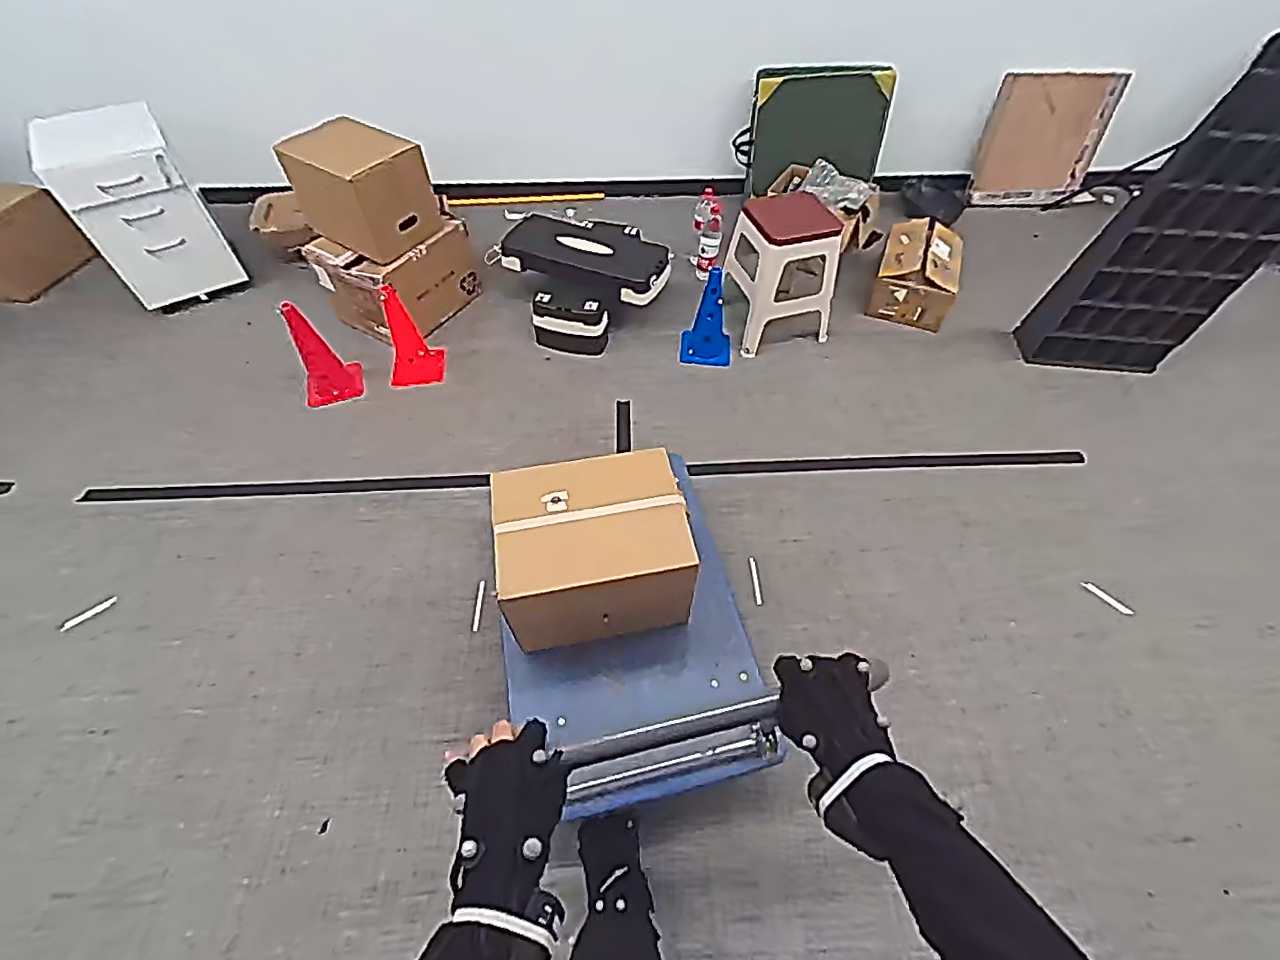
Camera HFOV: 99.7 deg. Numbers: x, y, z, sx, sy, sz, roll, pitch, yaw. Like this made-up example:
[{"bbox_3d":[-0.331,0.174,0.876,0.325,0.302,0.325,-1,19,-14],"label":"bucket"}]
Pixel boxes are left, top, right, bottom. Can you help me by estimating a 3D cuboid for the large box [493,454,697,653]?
[{"bbox_3d":[-0.104,0.179,1.280,0.408,0.320,0.320,-10,54,-6],"label":"large box"}]
